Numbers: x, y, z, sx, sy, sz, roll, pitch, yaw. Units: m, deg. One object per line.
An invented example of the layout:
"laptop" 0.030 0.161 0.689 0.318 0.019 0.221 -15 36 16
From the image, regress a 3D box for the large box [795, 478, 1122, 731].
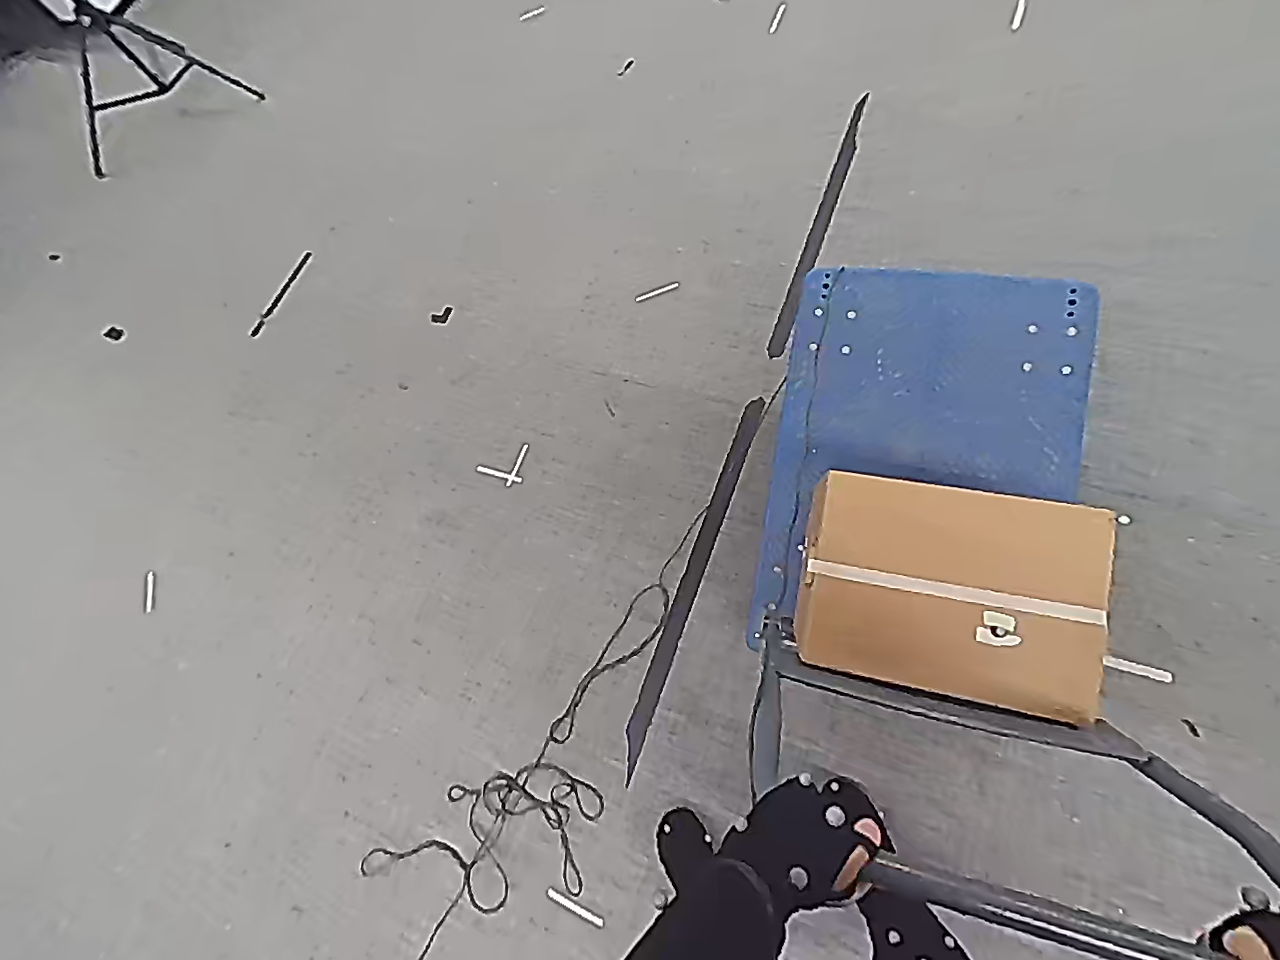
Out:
"large box" 0.502 0.190 0.946 0.408 0.320 0.320 9 86 13
